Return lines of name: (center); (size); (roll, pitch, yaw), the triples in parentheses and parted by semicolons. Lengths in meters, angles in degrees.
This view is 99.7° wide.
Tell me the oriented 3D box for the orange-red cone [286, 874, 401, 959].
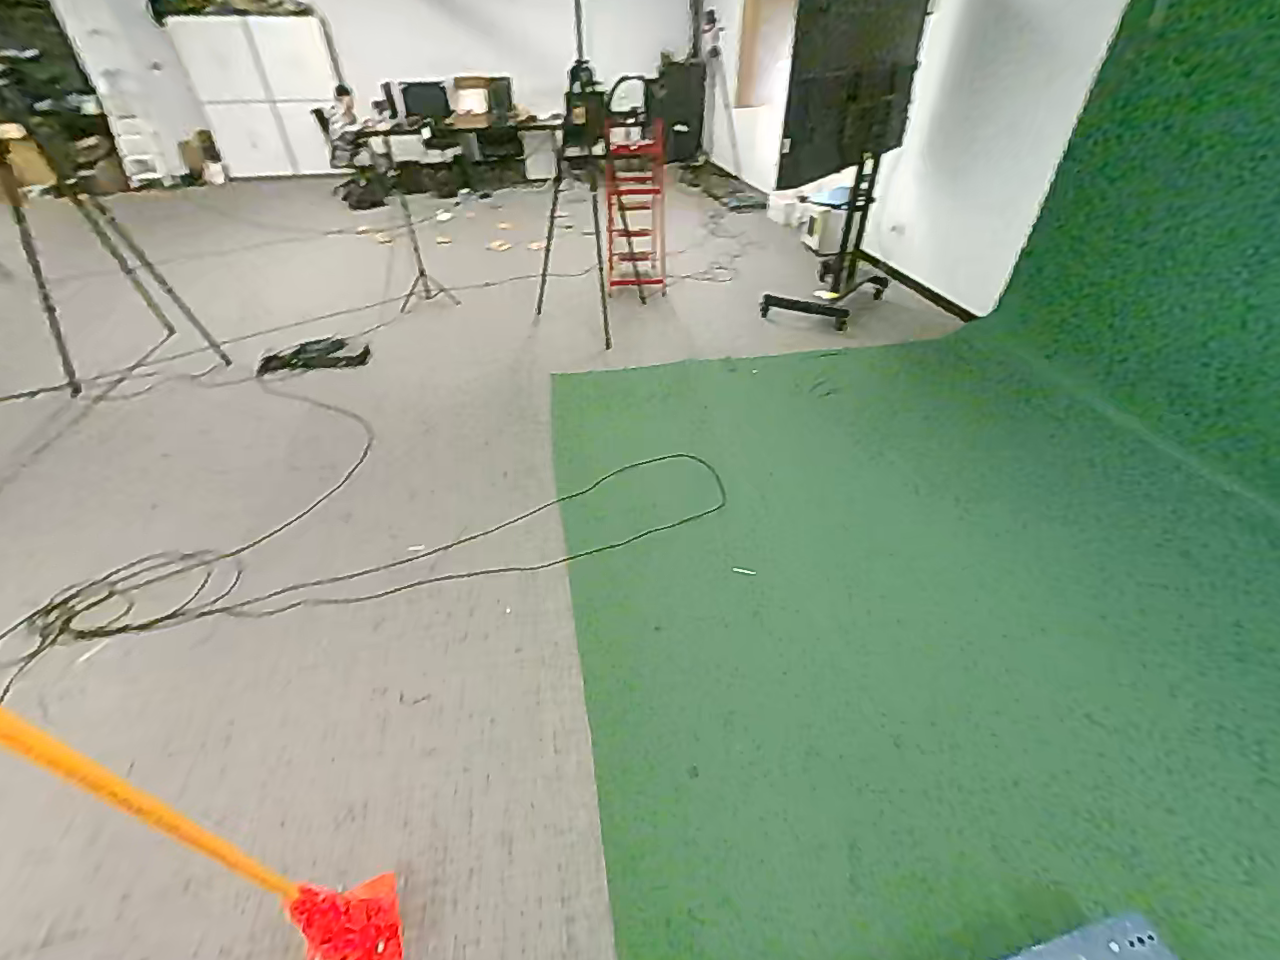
orange-red cone: (-0.675, 0.943, 1.170); (0.198, 0.360, 0.199); (-17, 41, -19)
